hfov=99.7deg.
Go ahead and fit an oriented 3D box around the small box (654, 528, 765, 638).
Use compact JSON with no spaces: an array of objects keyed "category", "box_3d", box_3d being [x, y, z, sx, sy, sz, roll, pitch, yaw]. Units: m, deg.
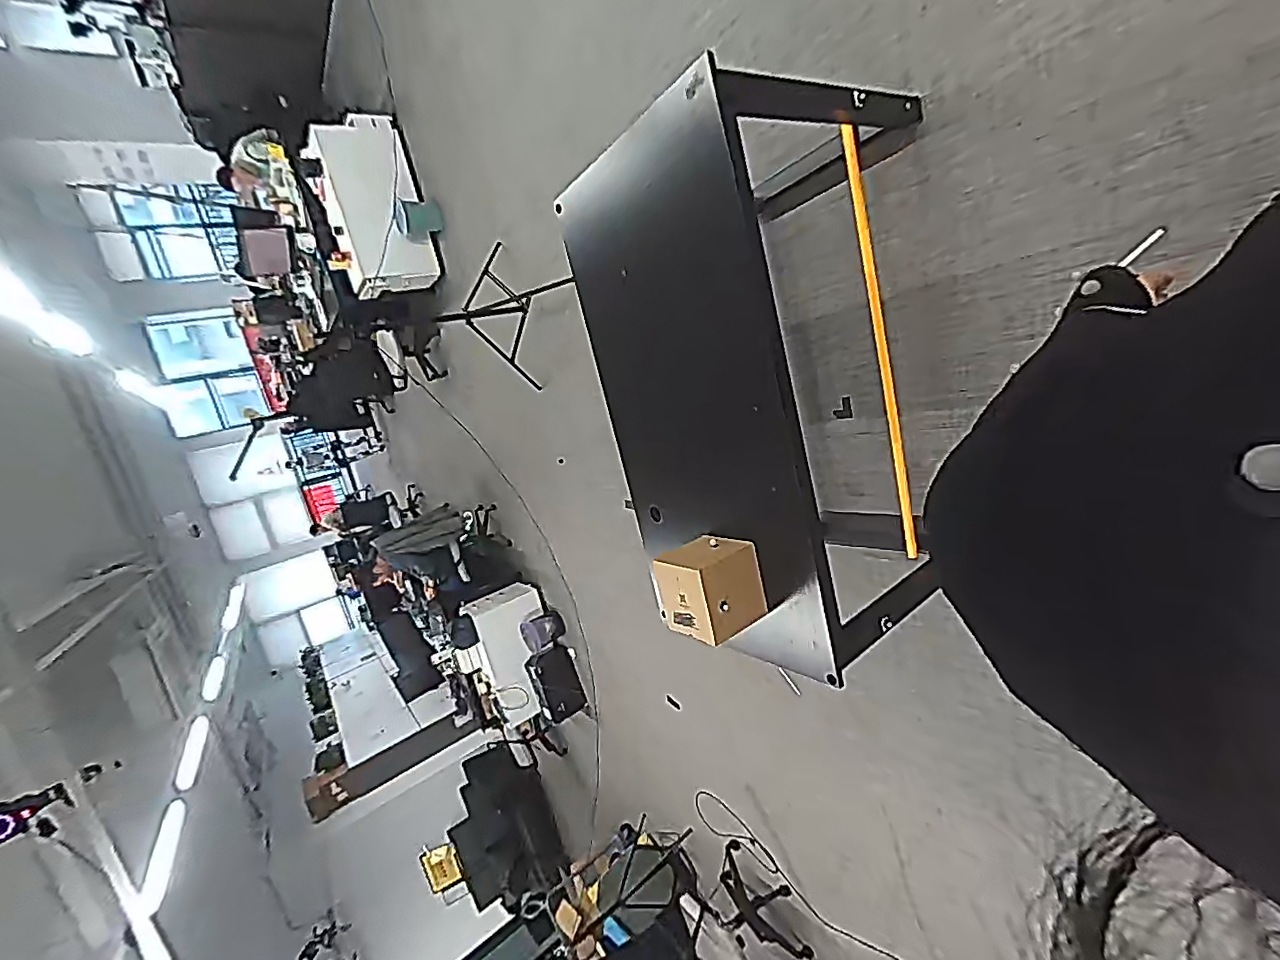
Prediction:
[{"category":"small box","box_3d":[0.162,0.225,1.228,0.168,0.176,0.179,2,109,55]}]
